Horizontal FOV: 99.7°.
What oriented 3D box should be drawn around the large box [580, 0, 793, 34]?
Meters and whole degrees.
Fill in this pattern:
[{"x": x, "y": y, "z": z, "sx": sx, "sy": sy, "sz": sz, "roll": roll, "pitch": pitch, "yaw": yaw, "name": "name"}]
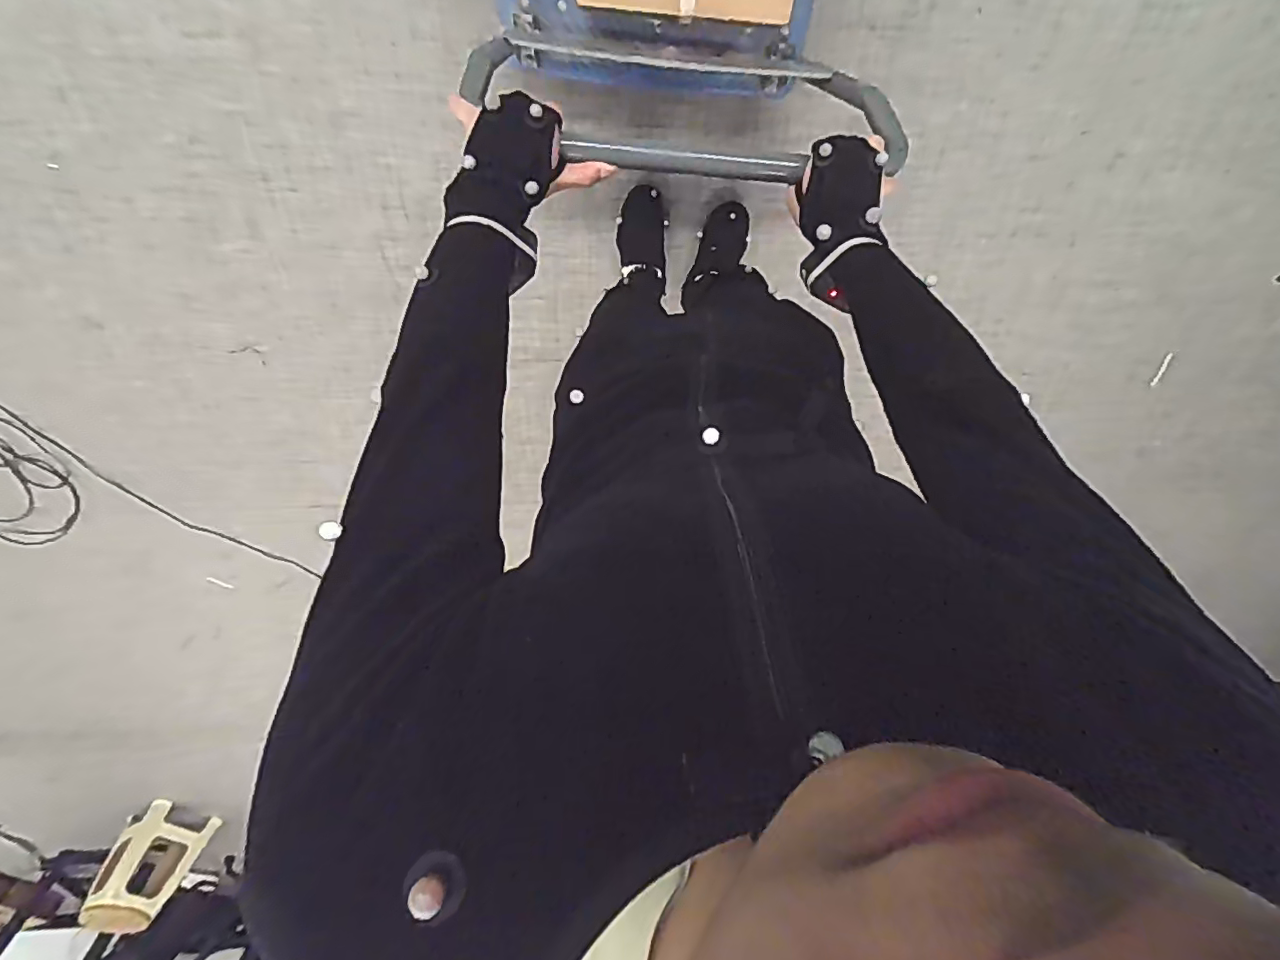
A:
[{"x": 0.072, "y": -0.915, "z": 0.781, "sx": 0.320, "sy": 0.320, "sz": 0.408, "roll": 2, "pitch": 128, "yaw": -5, "name": "large box"}]
